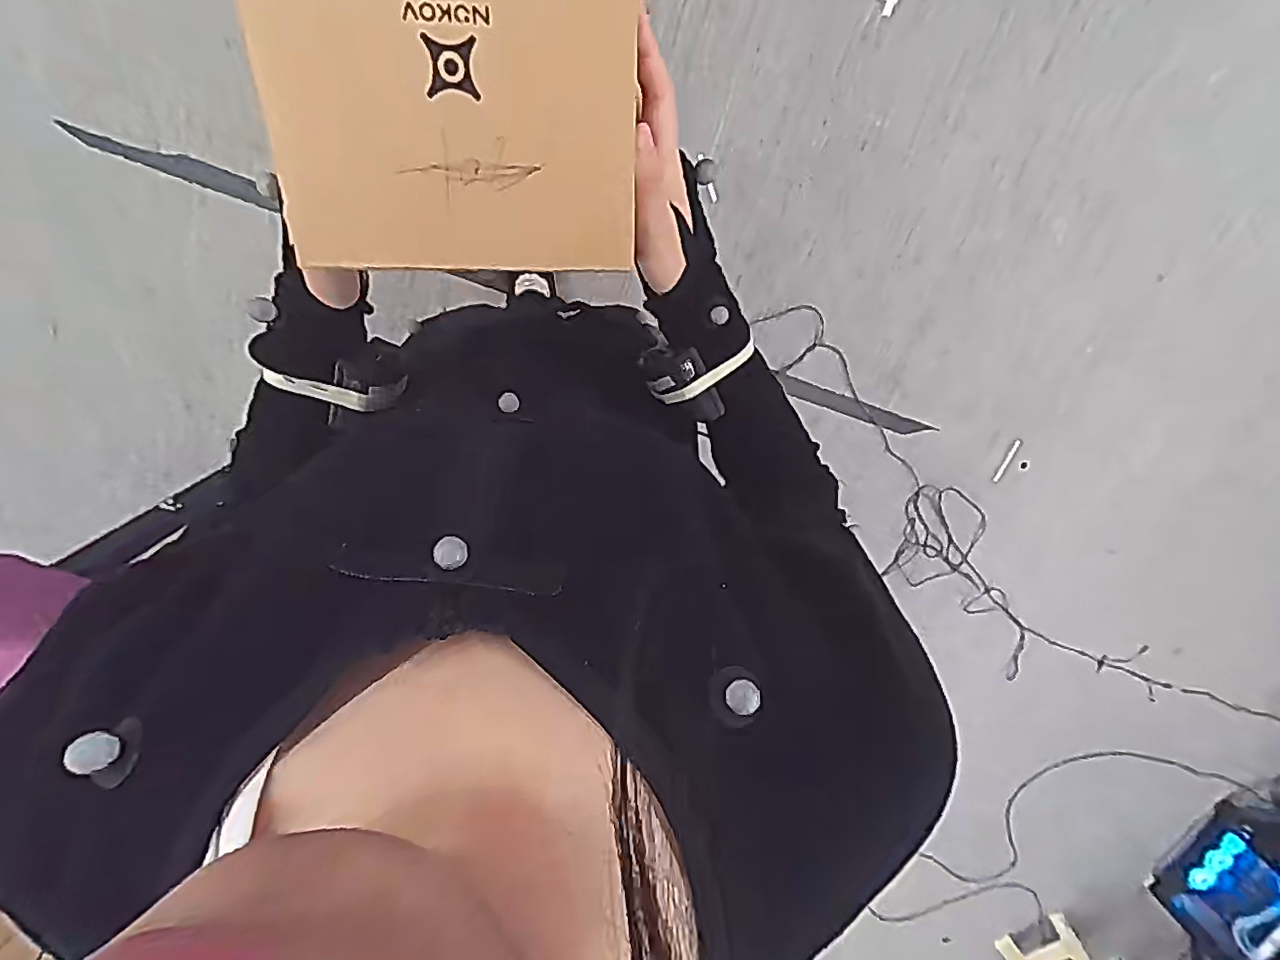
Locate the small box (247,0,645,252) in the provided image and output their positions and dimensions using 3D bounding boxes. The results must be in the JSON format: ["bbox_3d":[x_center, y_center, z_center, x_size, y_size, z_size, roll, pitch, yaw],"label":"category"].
[{"bbox_3d":[-0.089,-0.228,0.304,0.168,0.176,0.179,-2,116,-6],"label":"small box"}]
